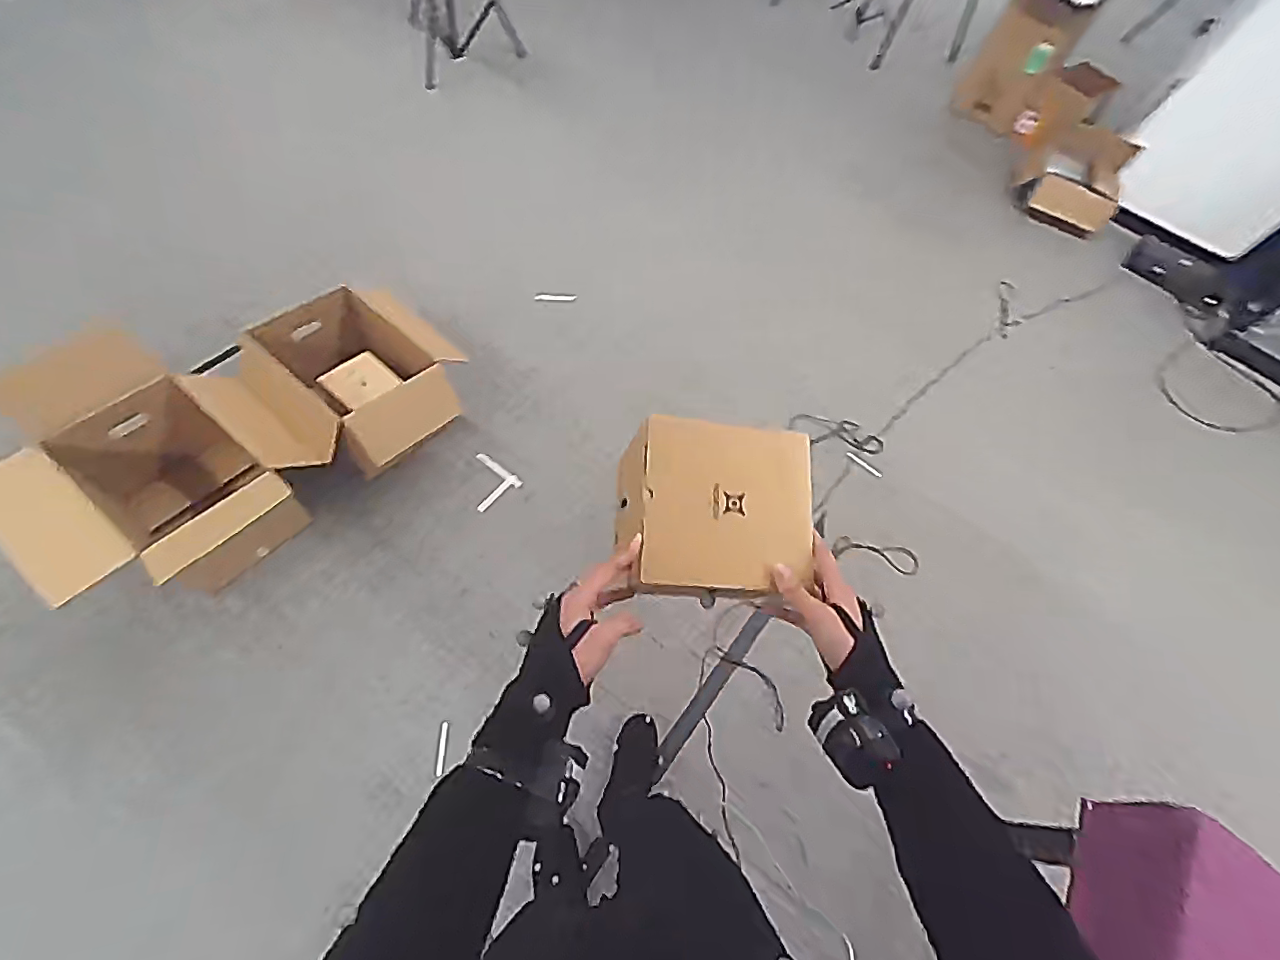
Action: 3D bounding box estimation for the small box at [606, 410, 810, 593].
[{"bbox_3d":[0.065,0.036,0.592,0.179,0.176,0.168,4,76,-10],"label":"small box"}]
